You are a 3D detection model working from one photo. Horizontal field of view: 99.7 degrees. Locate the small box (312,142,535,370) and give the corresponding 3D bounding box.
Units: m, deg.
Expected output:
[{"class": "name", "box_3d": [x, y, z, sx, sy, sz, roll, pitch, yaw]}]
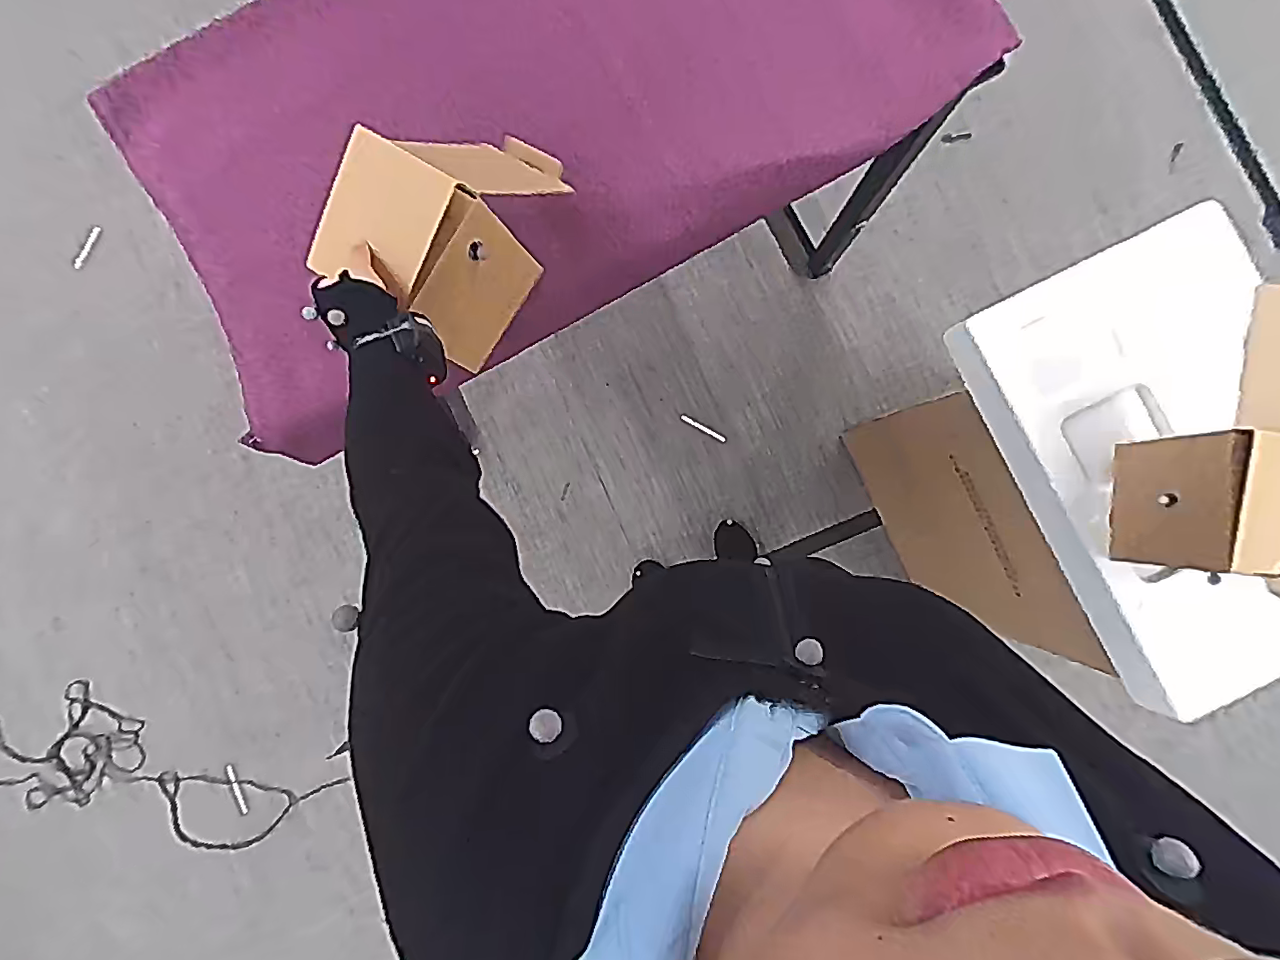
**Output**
[{"class": "small box", "box_3d": [-0.260, -0.274, 0.692, 0.168, 0.176, 0.179, 37, 94, 20]}]
